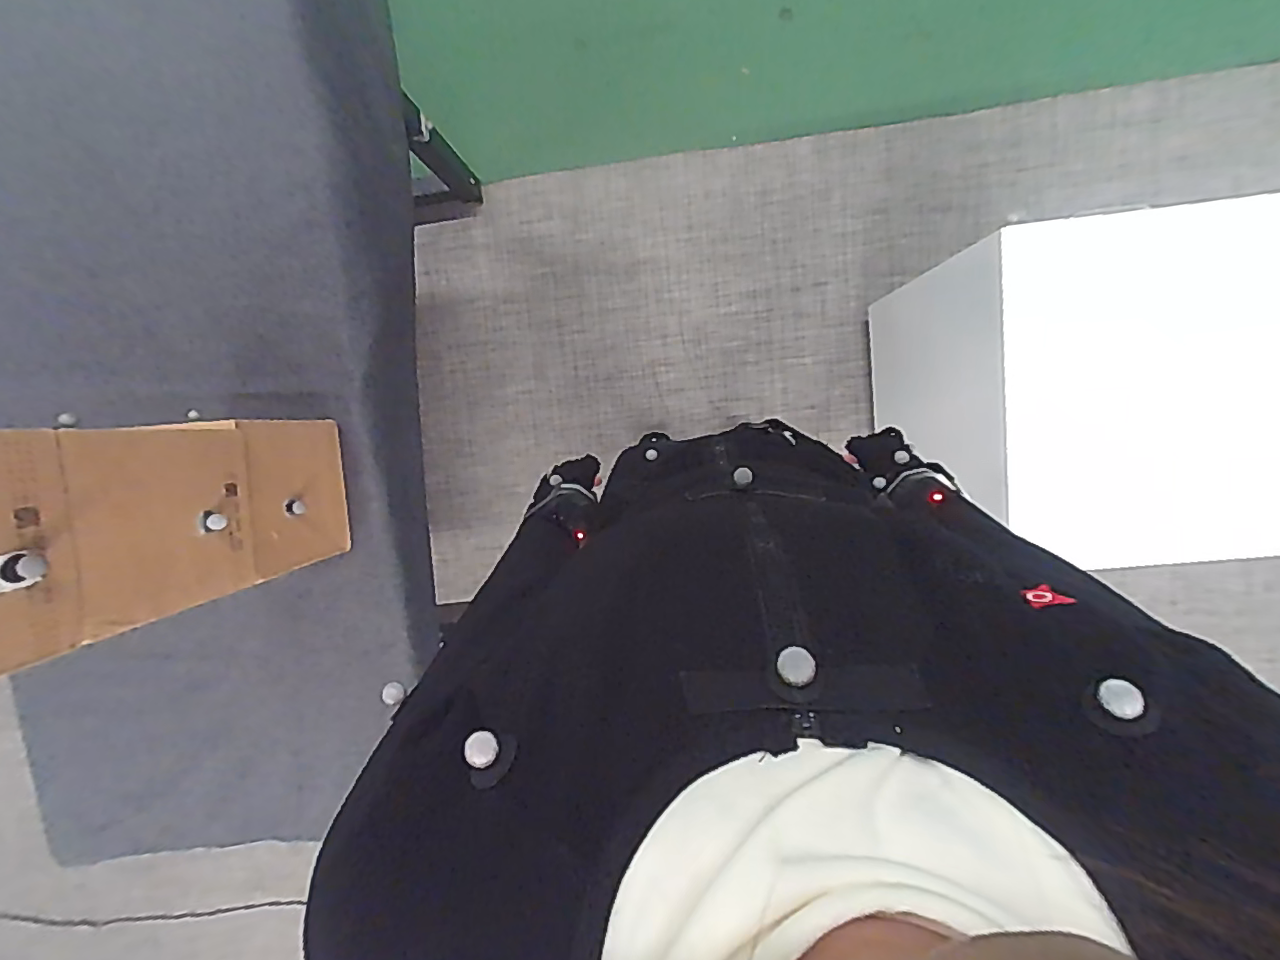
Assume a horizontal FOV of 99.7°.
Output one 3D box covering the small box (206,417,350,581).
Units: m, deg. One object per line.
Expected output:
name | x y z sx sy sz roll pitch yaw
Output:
small box | -0.484 0.015 0.662 0.168 0.176 0.179 -3 96 6

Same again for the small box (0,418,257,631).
small box | -0.505 0.032 0.499 0.179 0.176 0.168 -3 96 8

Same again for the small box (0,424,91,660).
small box | -0.518 0.050 0.339 0.179 0.176 0.168 -1 97 5
